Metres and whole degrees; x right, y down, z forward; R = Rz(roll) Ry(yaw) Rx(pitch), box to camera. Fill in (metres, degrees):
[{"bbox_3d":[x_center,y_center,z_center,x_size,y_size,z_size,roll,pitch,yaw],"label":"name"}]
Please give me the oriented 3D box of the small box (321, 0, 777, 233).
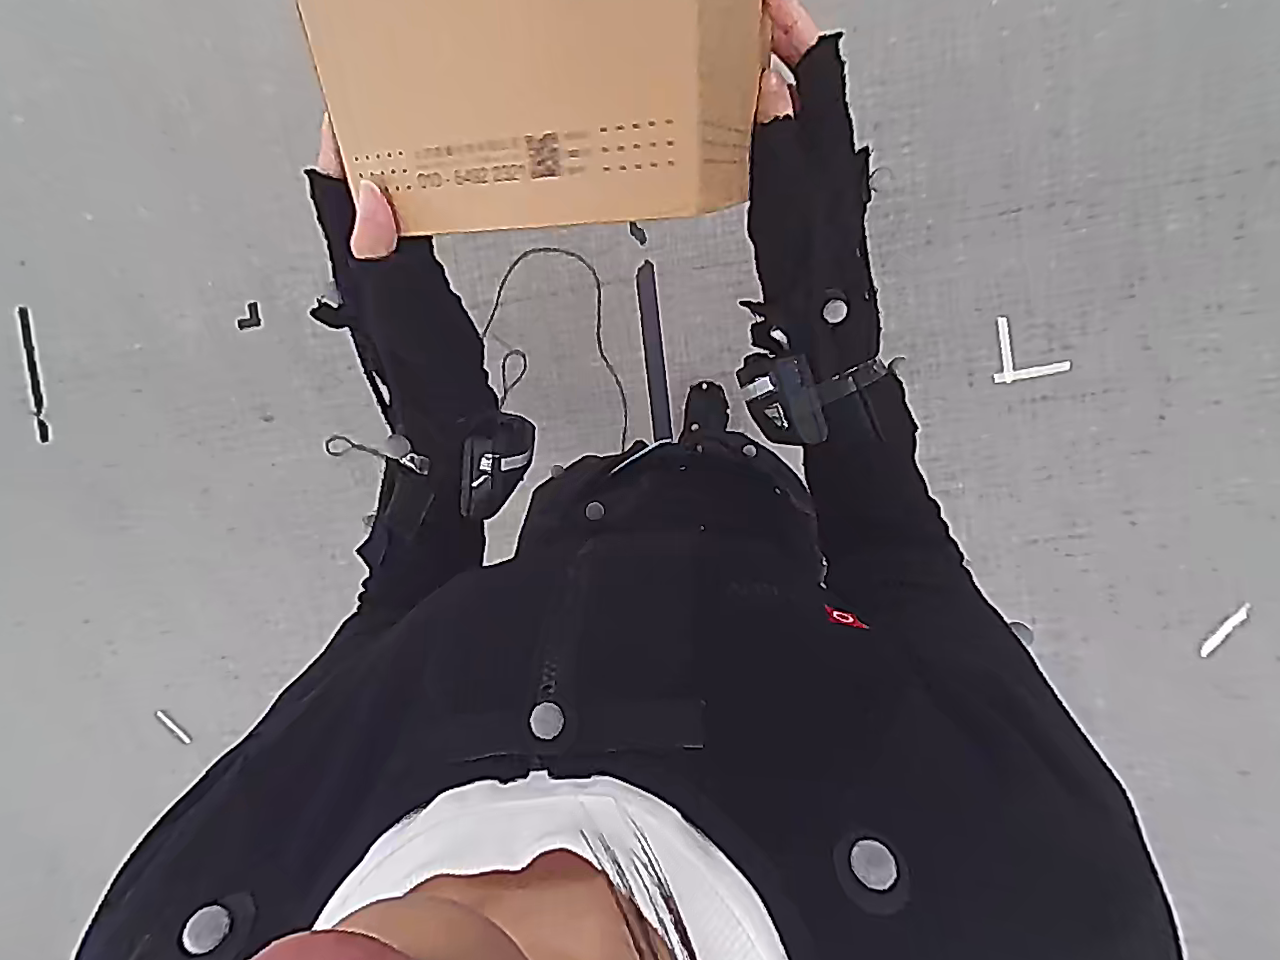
[{"bbox_3d":[-0.028,-0.219,0.265,0.168,0.179,0.176,8,122,22],"label":"small box"}]
